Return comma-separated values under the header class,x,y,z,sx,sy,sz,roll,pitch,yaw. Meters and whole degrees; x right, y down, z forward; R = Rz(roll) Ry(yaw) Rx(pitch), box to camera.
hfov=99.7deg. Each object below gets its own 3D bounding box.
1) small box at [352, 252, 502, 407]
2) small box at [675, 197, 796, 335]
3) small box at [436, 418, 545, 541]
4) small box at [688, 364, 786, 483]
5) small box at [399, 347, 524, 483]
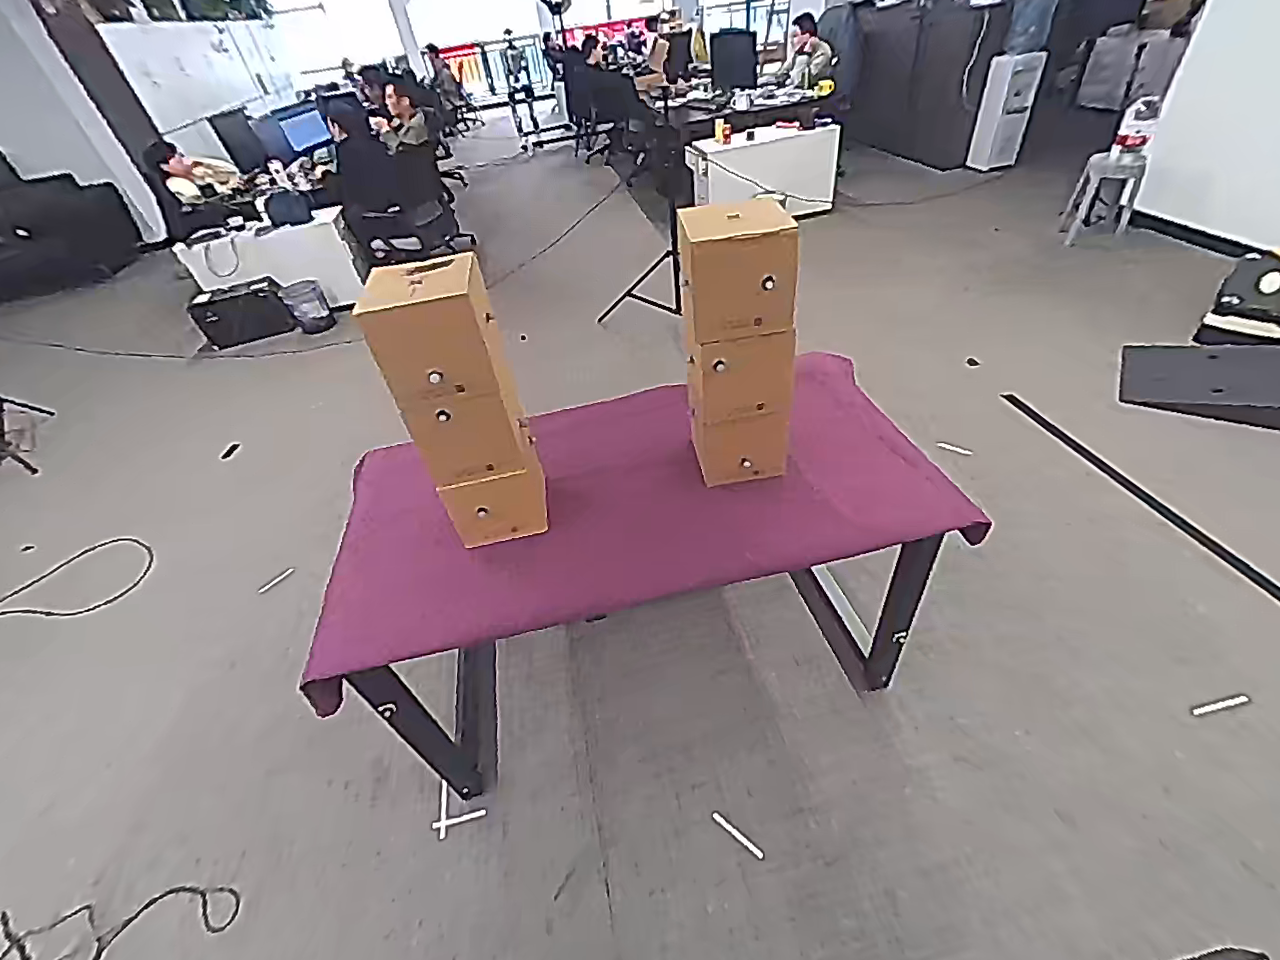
class,x,y,z,sx,sy,sz,roll,pitch,yaw
small box,-0.326,-0.242,0.869,0.168,0.176,0.179,-12,42,-3
small box,0.154,-0.353,0.908,0.168,0.176,0.179,-7,41,1
small box,-0.291,0.004,1.084,0.168,0.176,0.179,-12,41,-3
small box,0.196,-0.117,1.131,0.168,0.176,0.179,-10,42,0
small box,-0.311,-0.121,0.980,0.168,0.176,0.179,-13,41,-4
